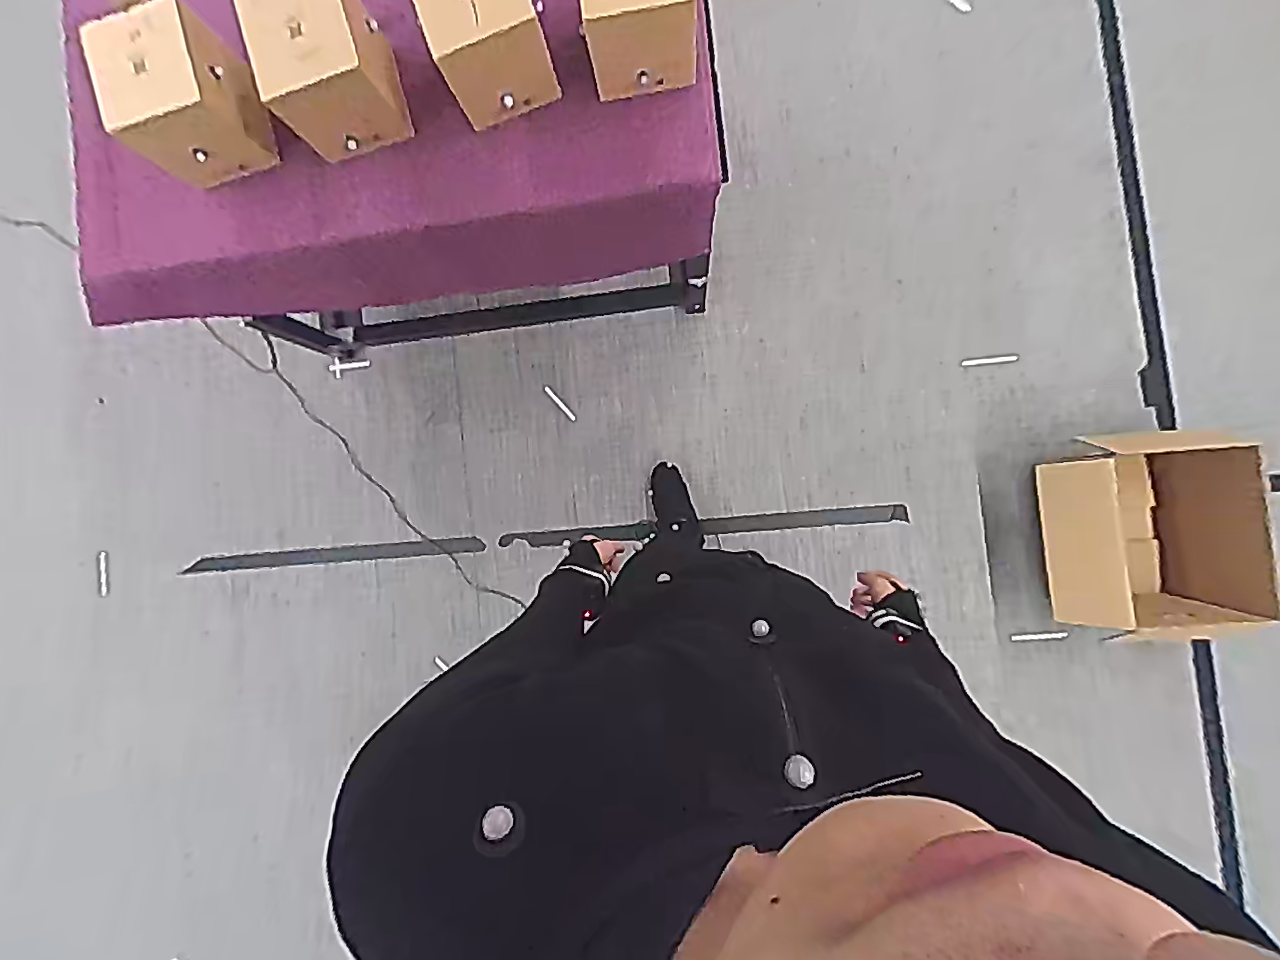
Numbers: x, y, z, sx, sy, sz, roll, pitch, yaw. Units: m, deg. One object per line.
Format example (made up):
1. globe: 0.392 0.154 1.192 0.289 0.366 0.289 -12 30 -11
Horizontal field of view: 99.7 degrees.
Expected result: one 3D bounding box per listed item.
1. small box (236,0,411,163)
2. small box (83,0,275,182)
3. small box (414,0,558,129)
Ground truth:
1. small box: -0.508 -0.671 0.890 0.168 0.176 0.179 -16 87 5
2. small box: -0.758 -0.634 0.909 0.168 0.176 0.179 -15 88 4
3. small box: -0.247 -0.719 0.867 0.168 0.176 0.179 -19 88 4
